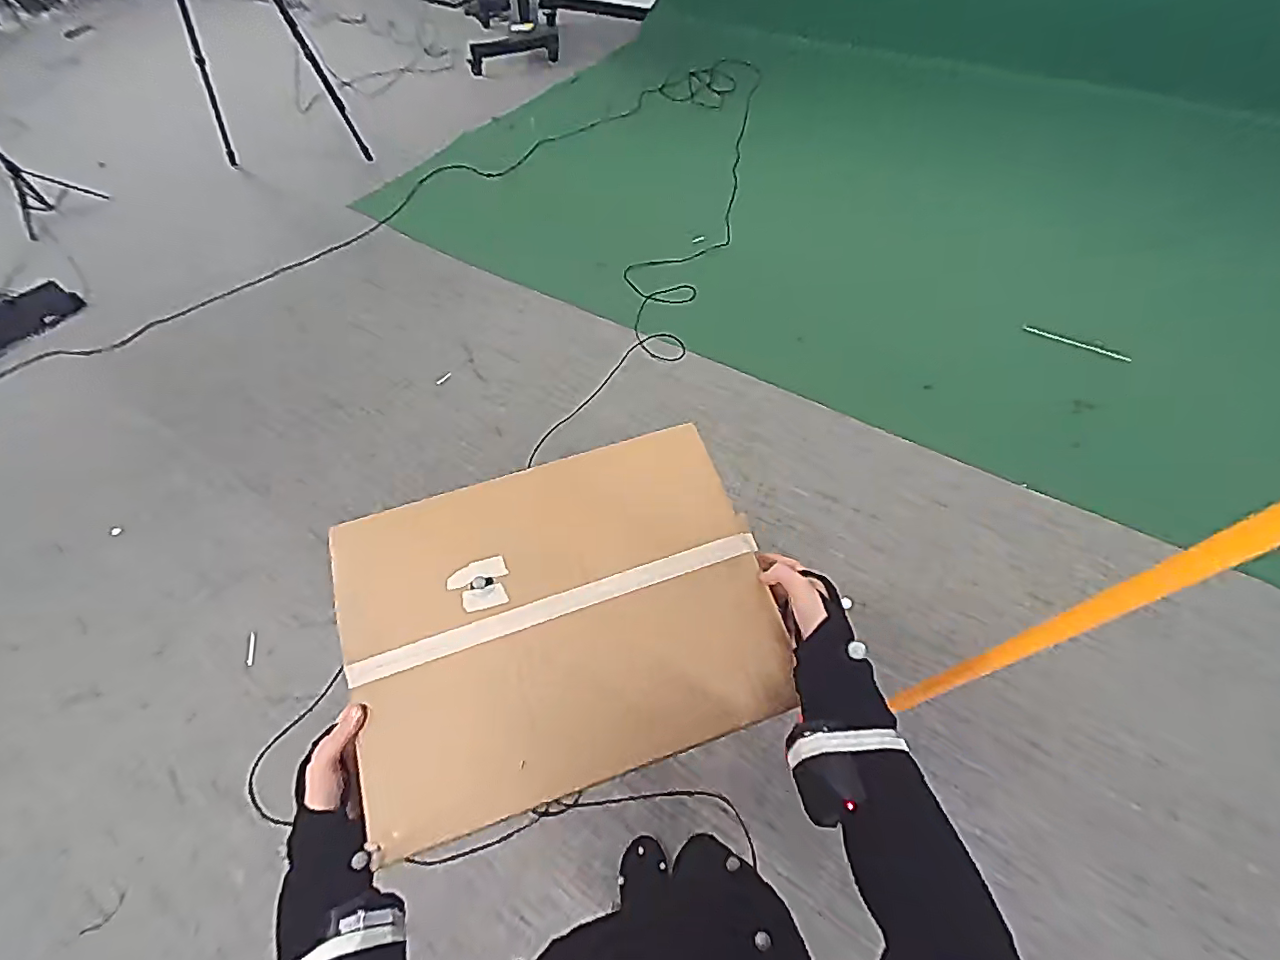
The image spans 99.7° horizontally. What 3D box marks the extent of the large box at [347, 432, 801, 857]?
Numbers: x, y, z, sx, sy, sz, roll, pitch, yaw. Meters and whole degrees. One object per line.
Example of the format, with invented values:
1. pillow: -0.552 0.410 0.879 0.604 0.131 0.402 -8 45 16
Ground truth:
1. large box: -0.077 0.190 0.684 0.408 0.320 0.320 -17 67 -7
